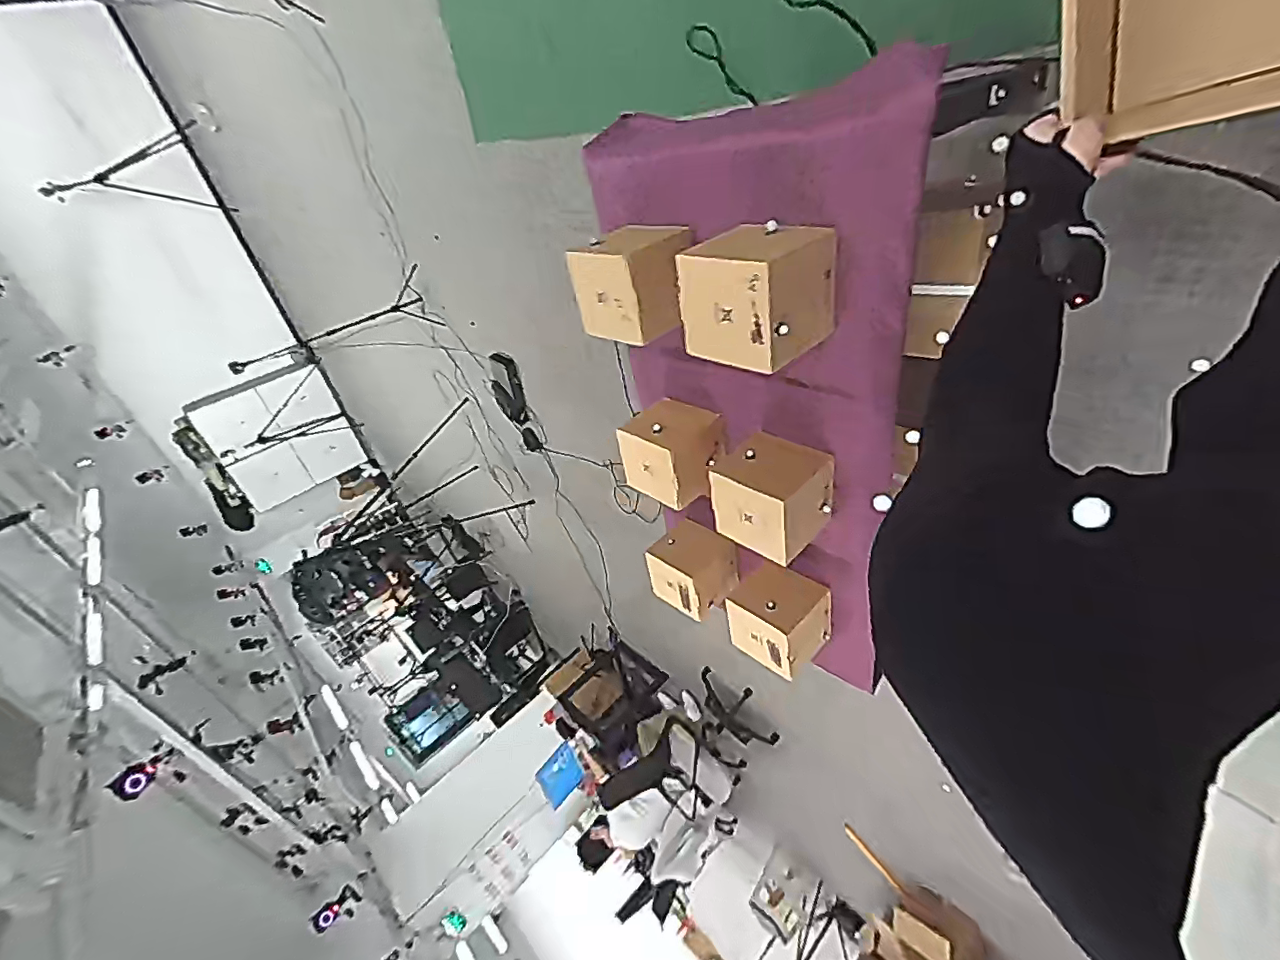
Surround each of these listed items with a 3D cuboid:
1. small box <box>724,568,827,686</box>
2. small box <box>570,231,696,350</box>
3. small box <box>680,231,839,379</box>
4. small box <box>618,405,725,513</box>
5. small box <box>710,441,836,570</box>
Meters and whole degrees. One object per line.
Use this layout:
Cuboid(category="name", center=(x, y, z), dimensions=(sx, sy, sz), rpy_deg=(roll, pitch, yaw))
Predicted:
Cuboid(category="small box", center=(0.325, 0.338, 1.280), dimensions=(0.179, 0.176, 0.168), rpy_deg=(26, 139, 44))
Cuboid(category="small box", center=(-0.004, -0.375, 1.052), dimensions=(0.179, 0.176, 0.168), rpy_deg=(25, 140, 41))
Cuboid(category="small box", center=(0.189, -0.285, 0.859), dimensions=(0.179, 0.176, 0.168), rpy_deg=(29, 142, 42))
Cuboid(category="small box", center=(0.077, -0.058, 1.257), dimensions=(0.179, 0.176, 0.168), rpy_deg=(25, 138, 40))
Cuboid(category="small box", center=(0.263, 0.041, 1.080), dimensions=(0.179, 0.176, 0.168), rpy_deg=(27, 141, 41))
